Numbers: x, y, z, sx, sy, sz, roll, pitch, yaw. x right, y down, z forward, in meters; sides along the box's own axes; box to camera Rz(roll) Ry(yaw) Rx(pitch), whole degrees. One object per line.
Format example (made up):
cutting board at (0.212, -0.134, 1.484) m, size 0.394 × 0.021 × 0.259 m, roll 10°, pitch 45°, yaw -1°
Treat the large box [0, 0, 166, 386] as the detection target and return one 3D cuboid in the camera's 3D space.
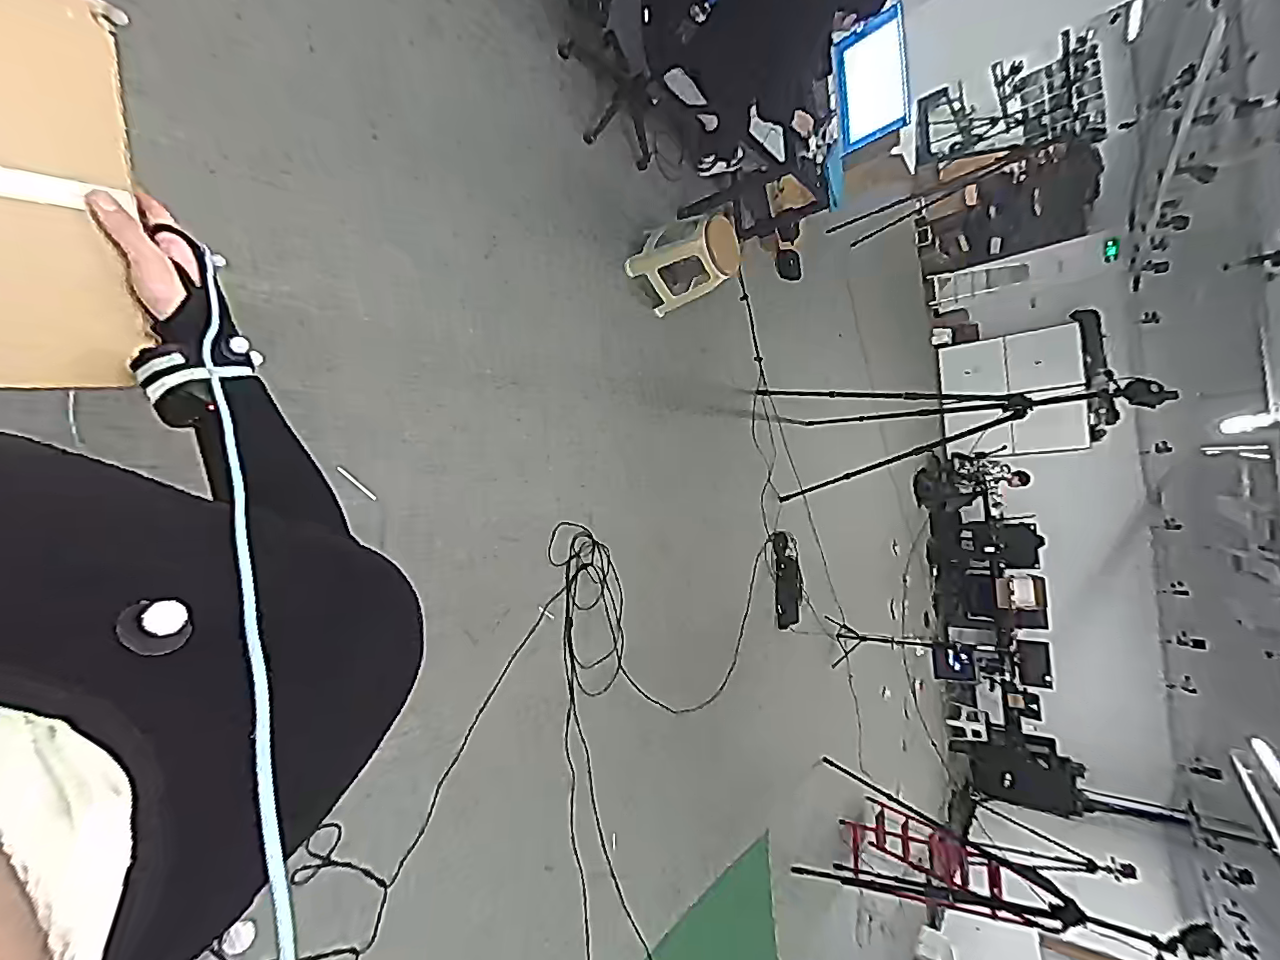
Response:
large box at (-0.692, -0.234, 0.431) m, size 0.408 × 0.320 × 0.320 m, roll -12°, pitch 107°, yaw -49°
